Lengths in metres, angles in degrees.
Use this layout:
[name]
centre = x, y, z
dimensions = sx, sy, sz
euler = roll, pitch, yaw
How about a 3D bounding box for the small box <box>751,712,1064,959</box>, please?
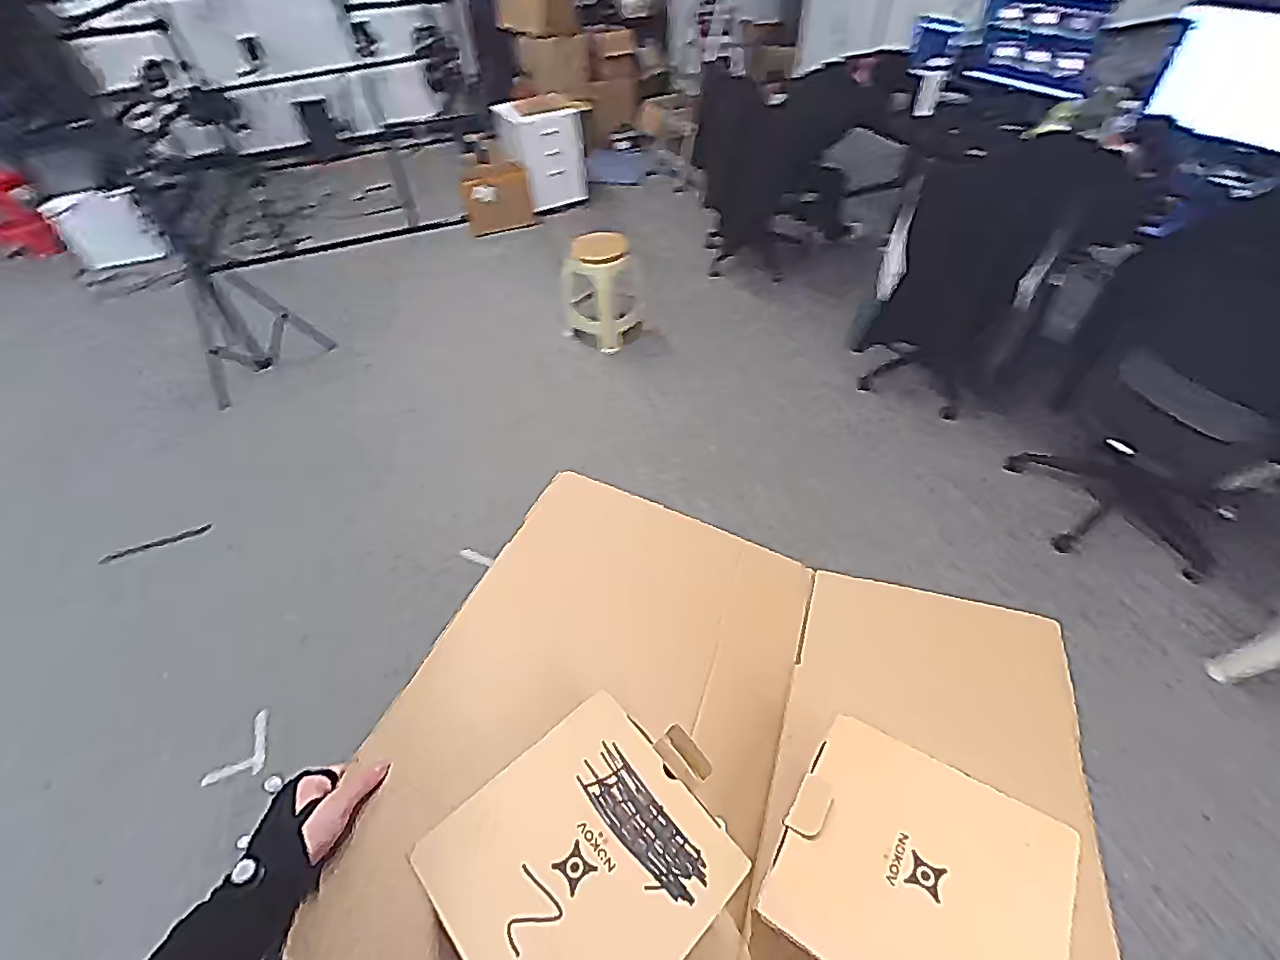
[small box]
centre = 0.205, 0.335, 0.443
dimensions = 0.179, 0.176, 0.168
euler = 18, 49, 29
